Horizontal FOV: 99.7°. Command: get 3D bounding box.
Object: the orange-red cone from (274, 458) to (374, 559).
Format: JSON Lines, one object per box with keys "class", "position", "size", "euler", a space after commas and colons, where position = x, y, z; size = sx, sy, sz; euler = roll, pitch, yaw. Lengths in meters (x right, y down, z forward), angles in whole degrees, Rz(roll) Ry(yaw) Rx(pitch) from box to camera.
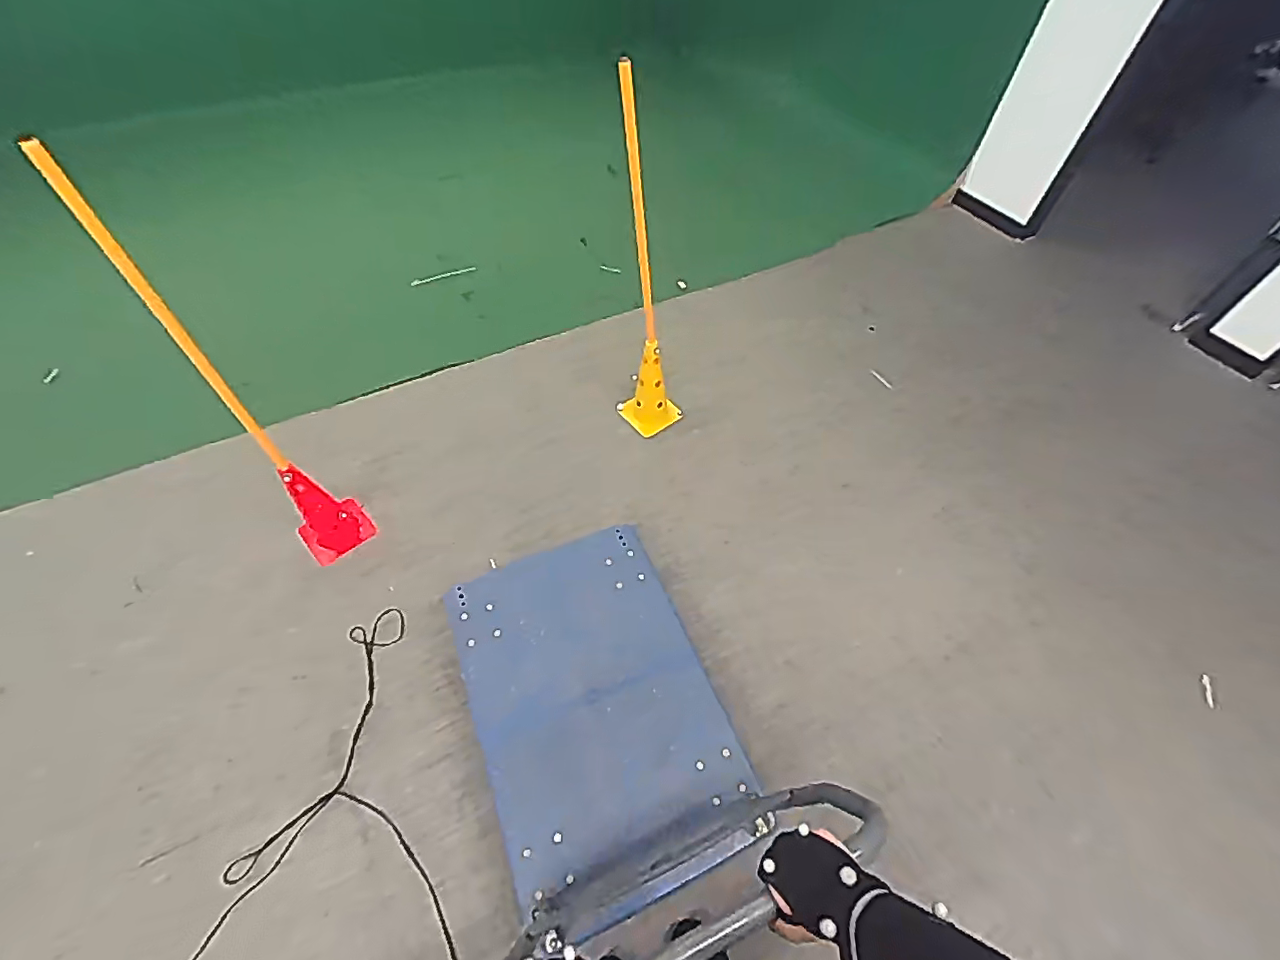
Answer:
{"class": "orange-red cone", "position": [-1.010, 0.054, 1.657], "size": [0.199, 0.360, 0.198], "euler": [-37, 63, -23]}
